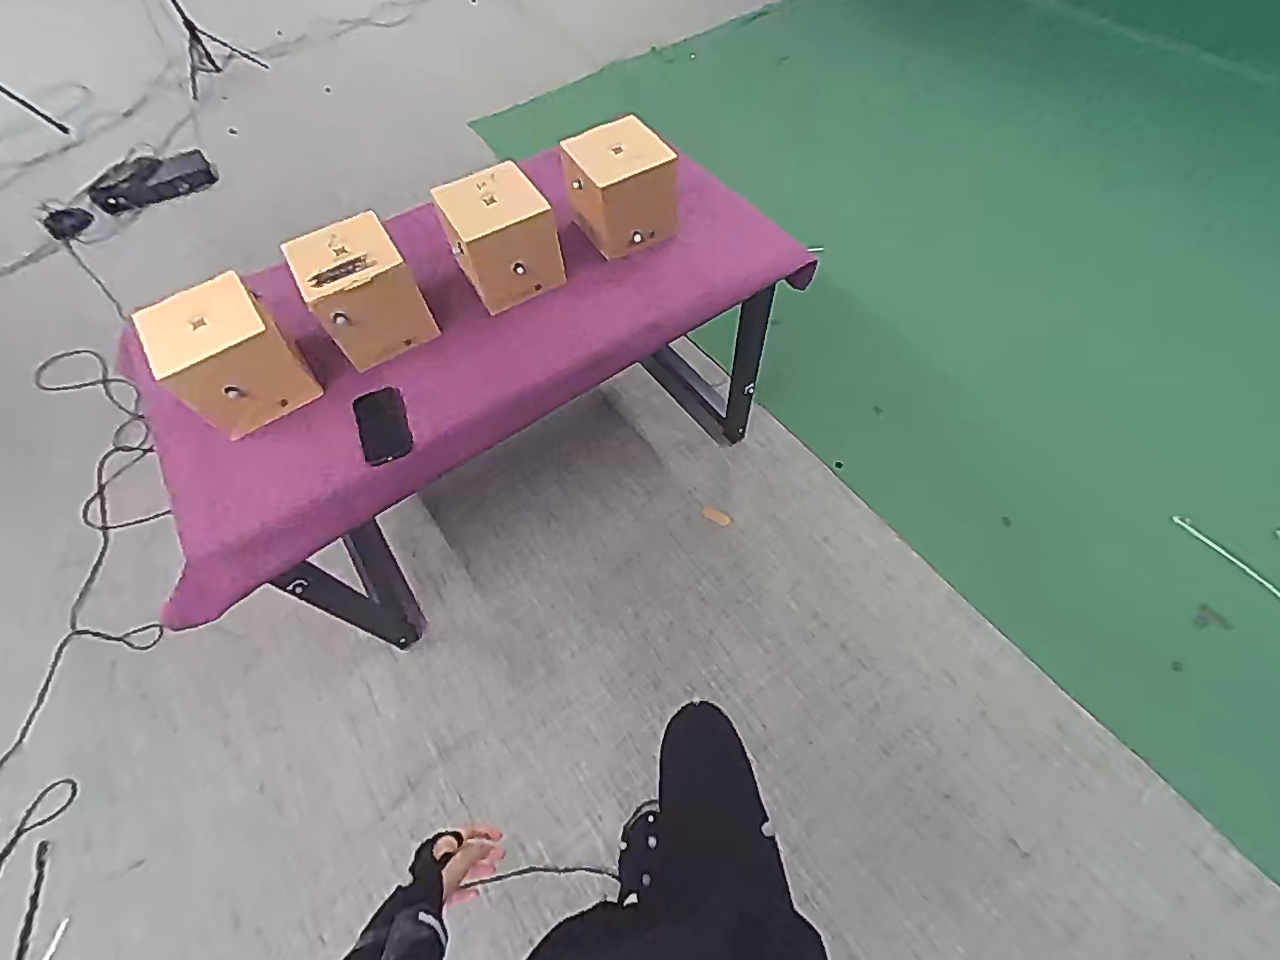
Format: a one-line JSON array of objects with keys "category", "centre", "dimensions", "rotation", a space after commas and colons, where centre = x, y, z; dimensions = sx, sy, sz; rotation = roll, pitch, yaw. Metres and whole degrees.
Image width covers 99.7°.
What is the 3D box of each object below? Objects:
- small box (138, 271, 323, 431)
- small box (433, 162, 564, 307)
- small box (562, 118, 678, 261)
[{"category": "small box", "centre": [-0.677, -0.206, 0.911], "dimensions": [0.168, 0.176, 0.179], "rotation": [-34, 64, -15]}, {"category": "small box", "centre": [-0.259, -0.456, 1.028], "dimensions": [0.168, 0.176, 0.179], "rotation": [-28, 63, -13]}, {"category": "small box", "centre": [-0.037, -0.579, 1.086], "dimensions": [0.168, 0.176, 0.179], "rotation": [-27, 63, -11]}]
